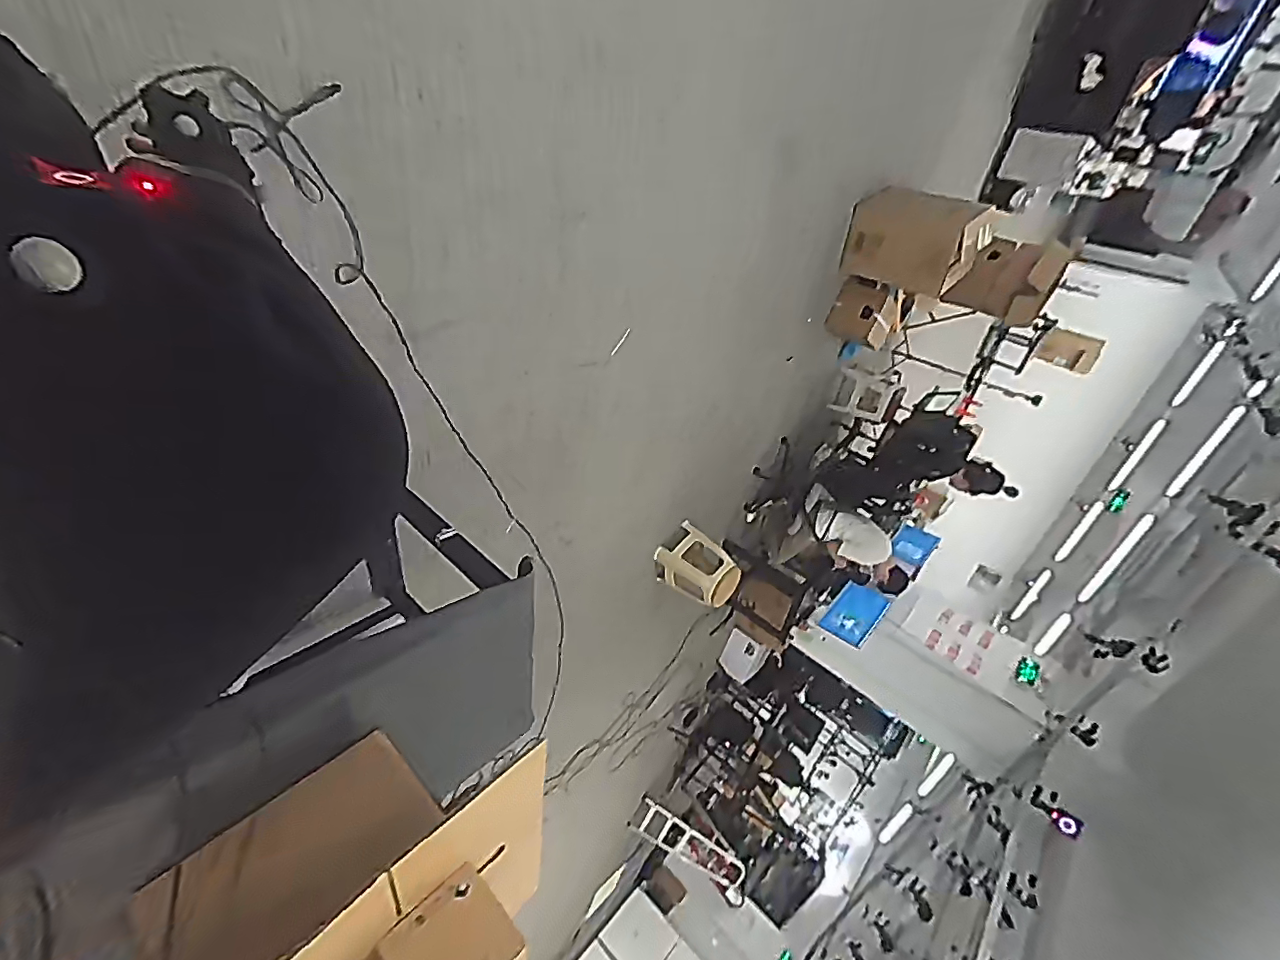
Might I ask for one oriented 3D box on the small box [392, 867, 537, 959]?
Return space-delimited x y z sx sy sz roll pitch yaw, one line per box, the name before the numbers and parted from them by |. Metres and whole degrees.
small box | -0.289 0.791 0.891 0.168 0.176 0.179 -25 136 -43
